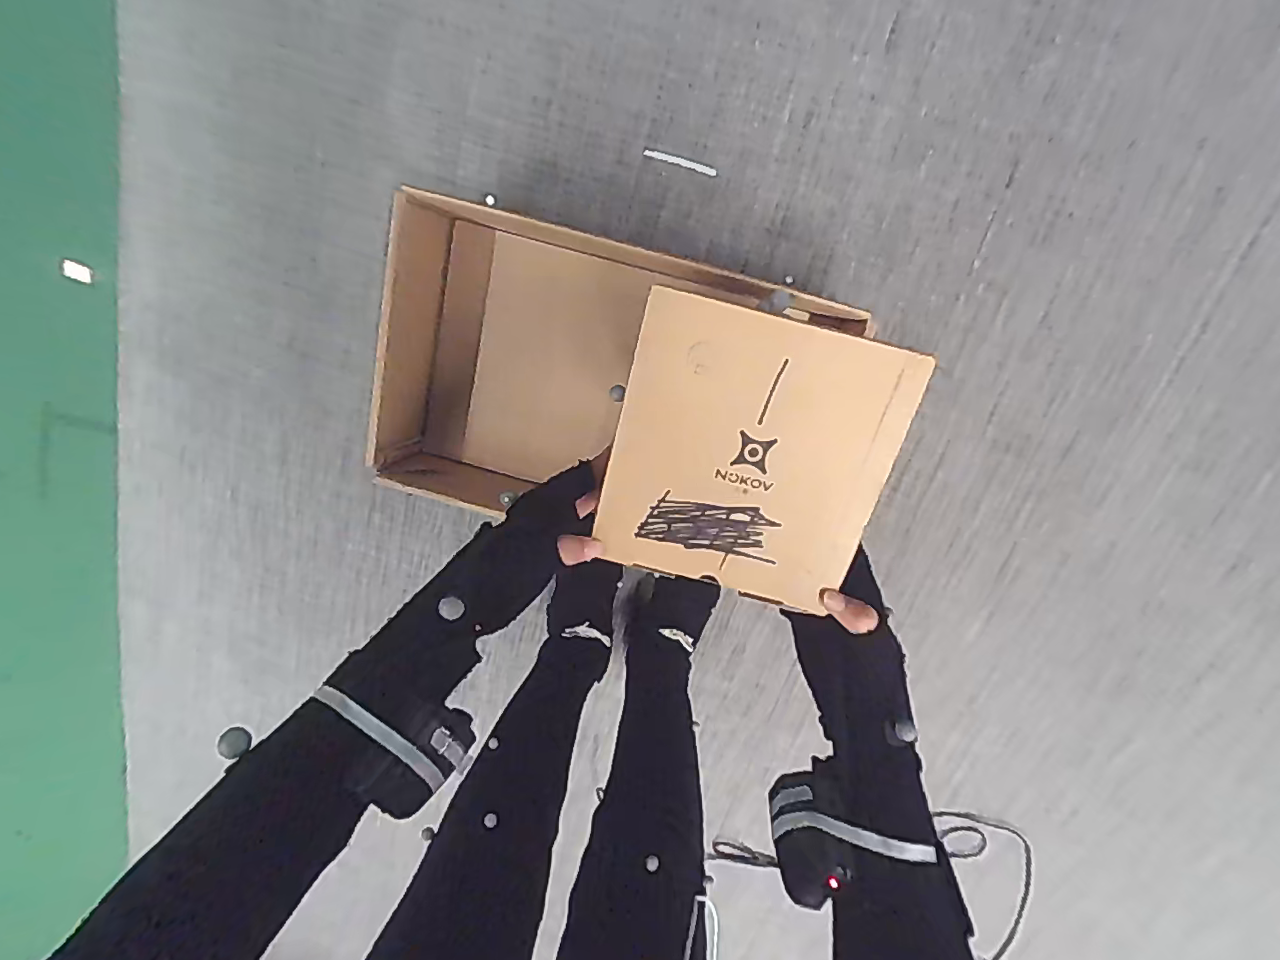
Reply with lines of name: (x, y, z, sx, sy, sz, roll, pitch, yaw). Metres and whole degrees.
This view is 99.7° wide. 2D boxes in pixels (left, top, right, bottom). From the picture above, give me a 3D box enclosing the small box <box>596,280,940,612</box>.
small box: (0.076, -0.037, 0.401, 0.168, 0.176, 0.179, 15, 109, -1)
